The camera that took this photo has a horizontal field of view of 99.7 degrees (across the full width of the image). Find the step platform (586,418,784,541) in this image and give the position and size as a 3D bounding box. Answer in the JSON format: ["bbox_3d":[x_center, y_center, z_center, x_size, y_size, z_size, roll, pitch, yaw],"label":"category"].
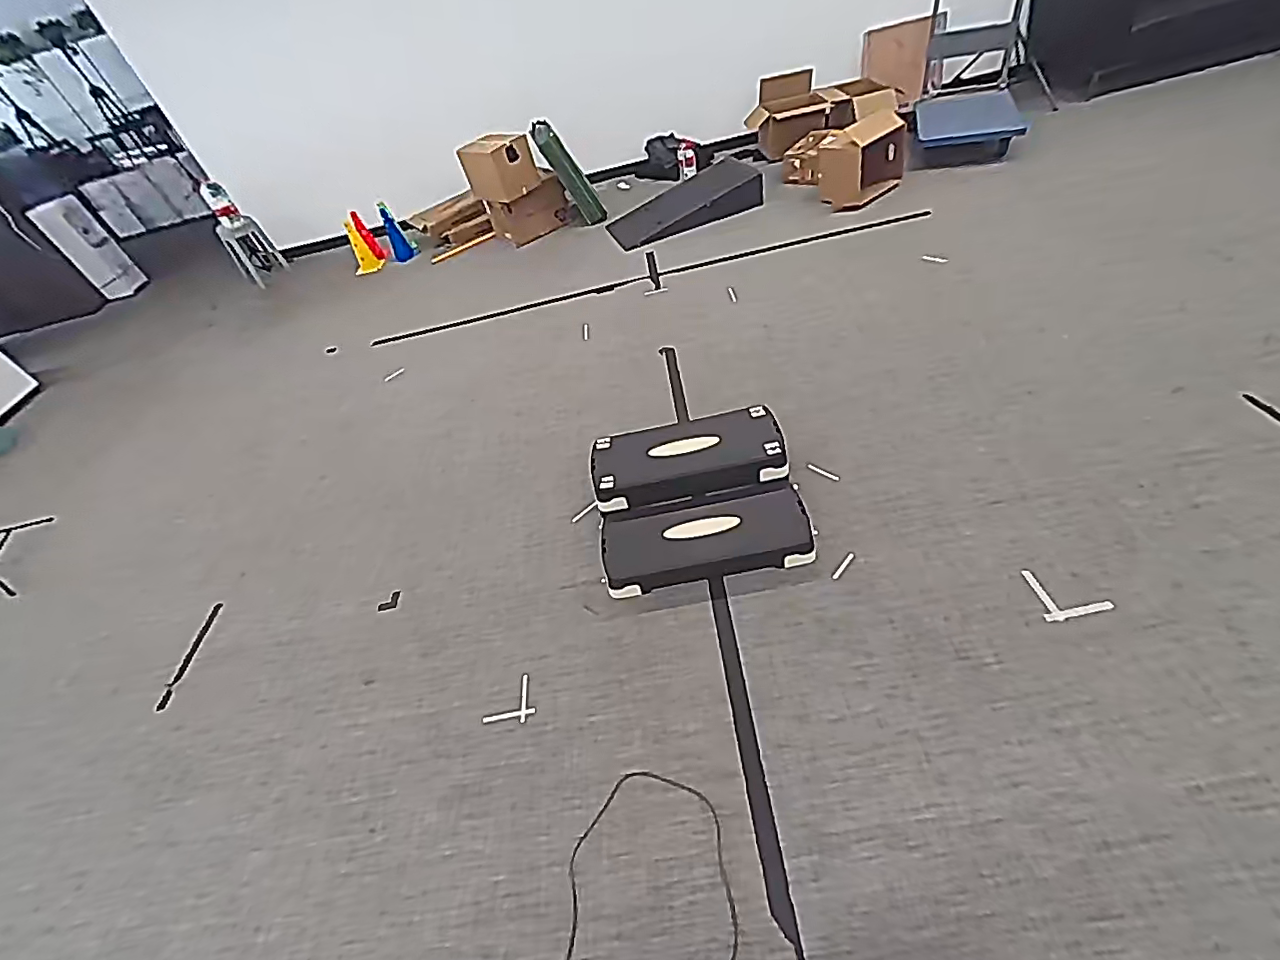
[{"bbox_3d":[0.151,-0.008,1.917,0.684,0.204,0.286,-12,45,3],"label":"step platform"}]
